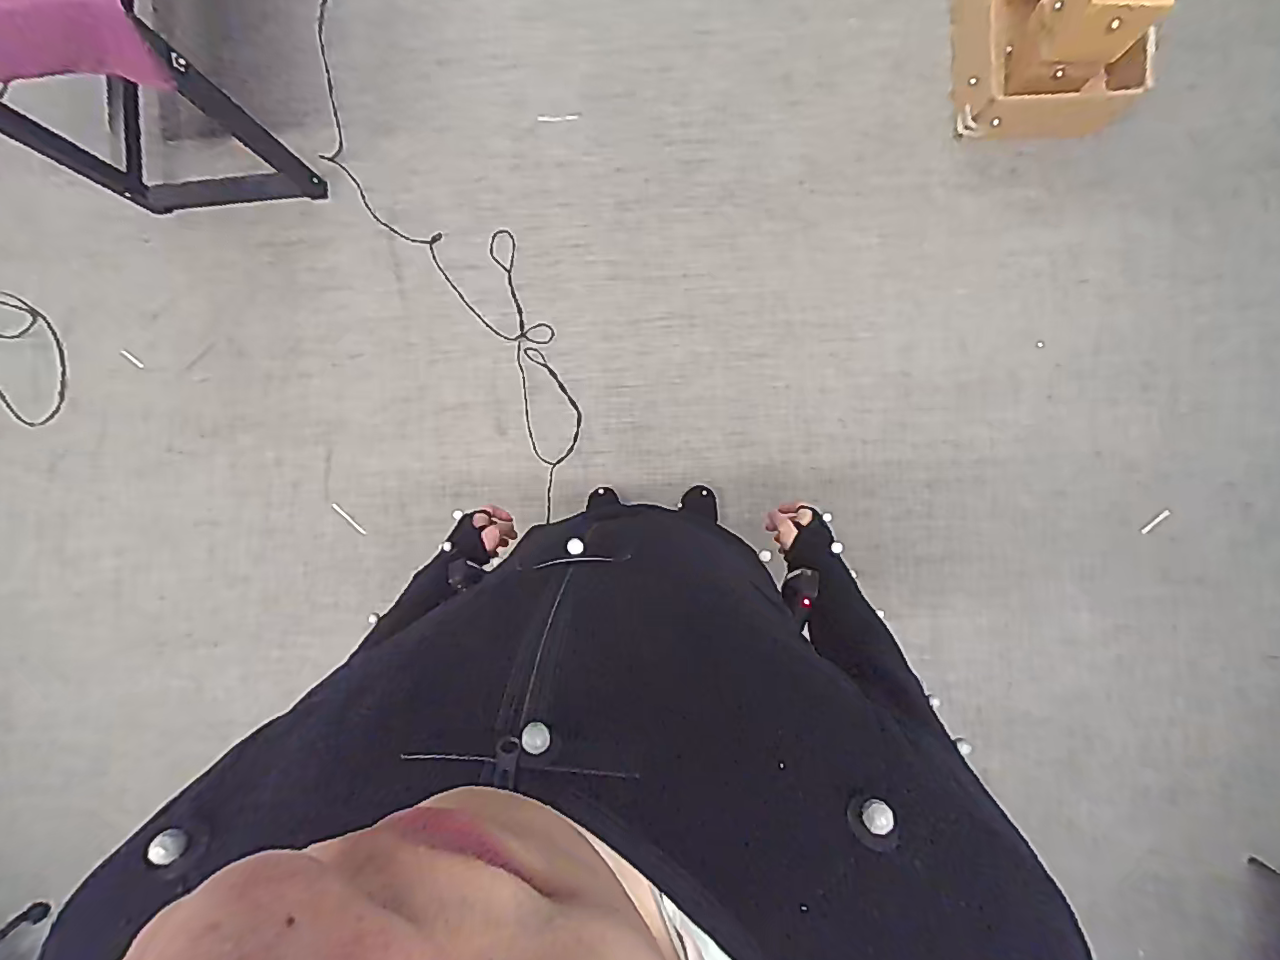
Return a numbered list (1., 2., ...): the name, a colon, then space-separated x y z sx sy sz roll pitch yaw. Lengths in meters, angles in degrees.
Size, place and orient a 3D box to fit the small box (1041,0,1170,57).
1. small box: 1.106 -1.150 1.286 0.179 0.176 0.168 3 91 4
